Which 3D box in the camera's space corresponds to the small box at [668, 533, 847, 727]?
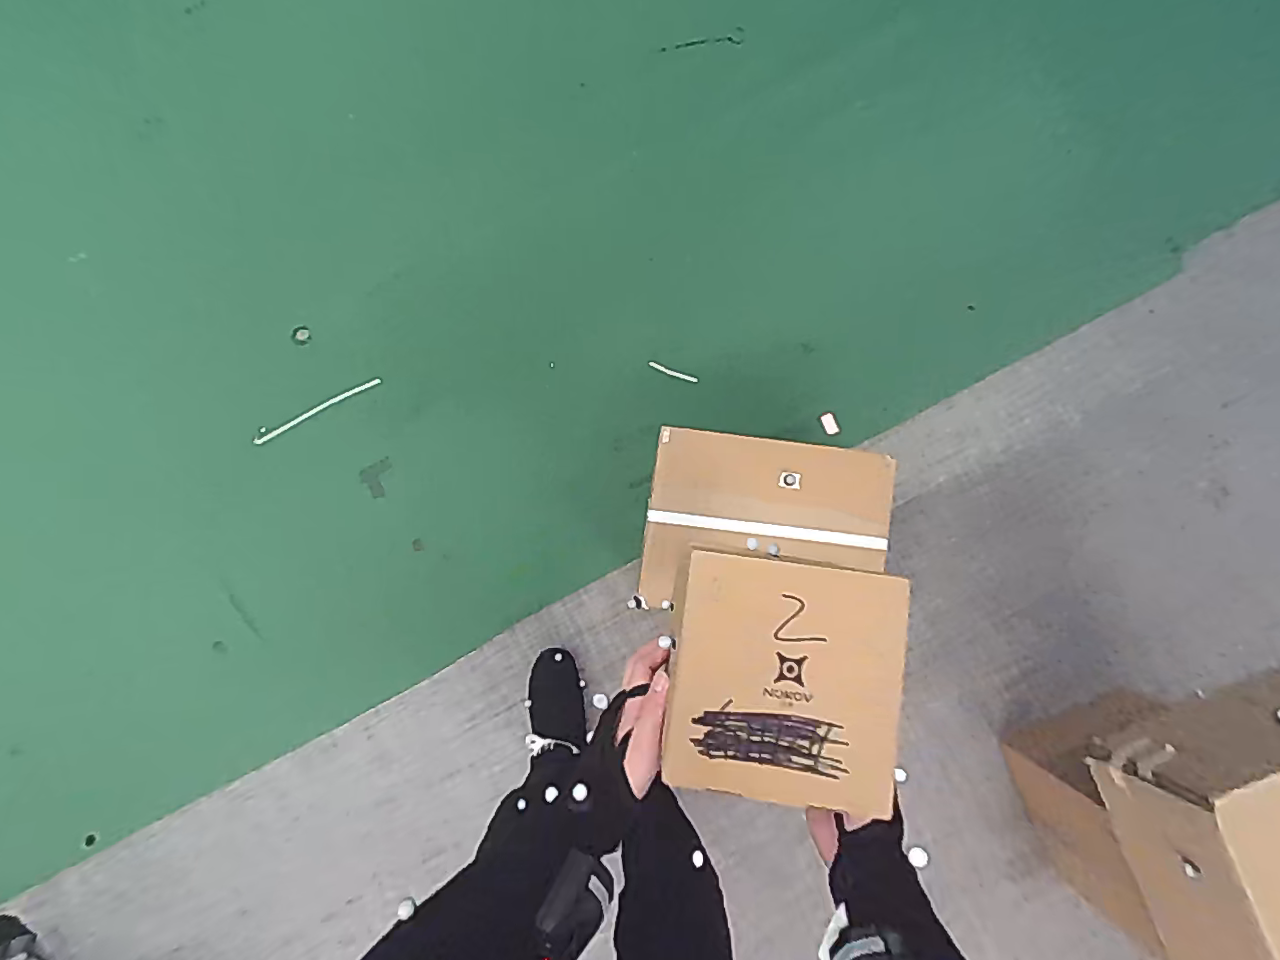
[{"bbox_3d":[0.128,0.163,0.645,0.168,0.176,0.179,9,84,3],"label":"small box"}]
